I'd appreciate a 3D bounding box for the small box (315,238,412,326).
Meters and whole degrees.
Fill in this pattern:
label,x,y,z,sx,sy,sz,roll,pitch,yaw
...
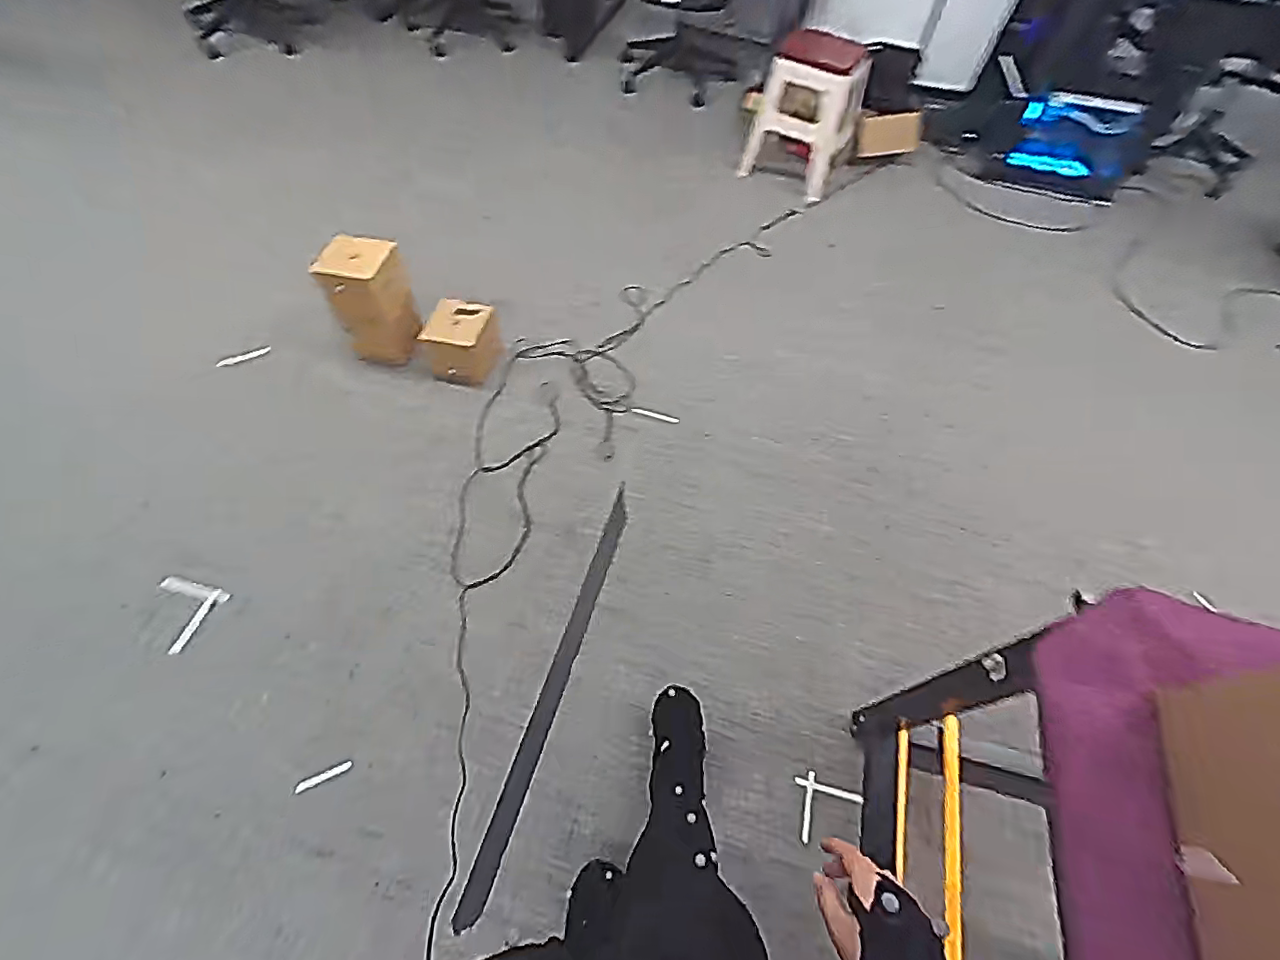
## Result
label,x,y,z,sx,sy,sz,roll,pitch,yaw
small box,-0.795,-0.574,1.579,0.179,0.176,0.168,9,57,3

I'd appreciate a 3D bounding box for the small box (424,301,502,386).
label,x,y,z,sx,sy,sz,roll,pitch,yaw
small box,-0.541,-0.424,1.689,0.168,0.176,0.179,11,58,5
